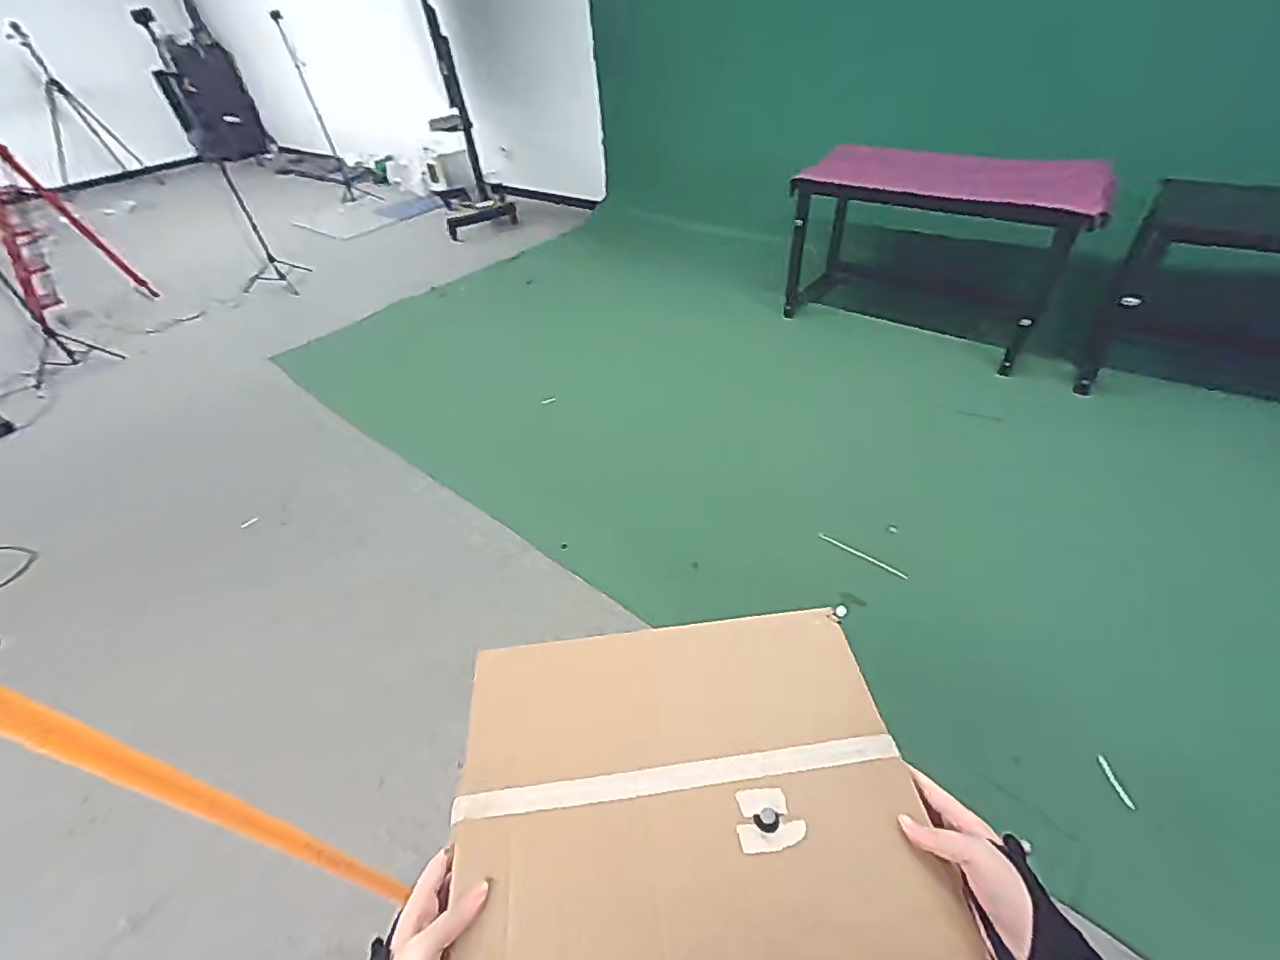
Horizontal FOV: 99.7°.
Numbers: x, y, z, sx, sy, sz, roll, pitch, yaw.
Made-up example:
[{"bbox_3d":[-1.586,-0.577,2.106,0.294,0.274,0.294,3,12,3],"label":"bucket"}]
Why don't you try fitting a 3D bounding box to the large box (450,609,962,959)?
[{"bbox_3d":[0.037,0.384,0.607,0.408,0.320,0.320,-6,43,-5],"label":"large box"}]
